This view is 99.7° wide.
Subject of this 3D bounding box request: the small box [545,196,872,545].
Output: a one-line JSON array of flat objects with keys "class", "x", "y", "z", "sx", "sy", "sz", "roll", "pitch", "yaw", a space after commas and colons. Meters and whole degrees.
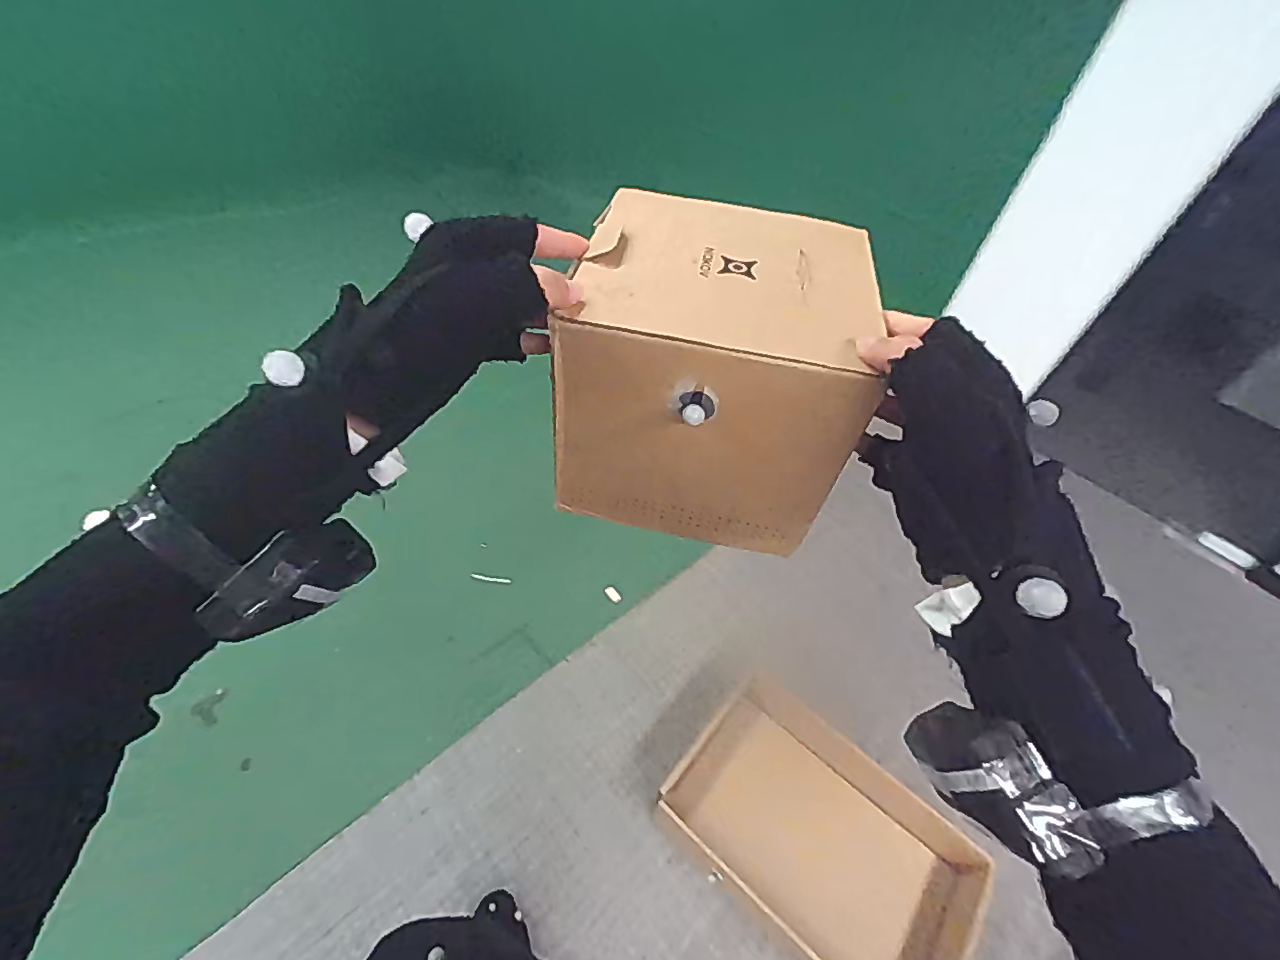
[{"class": "small box", "x": 0.040, "y": -0.073, "z": 0.390, "sx": 0.179, "sy": 0.176, "sz": 0.168, "roll": 12, "pitch": 50, "yaw": 1}]
